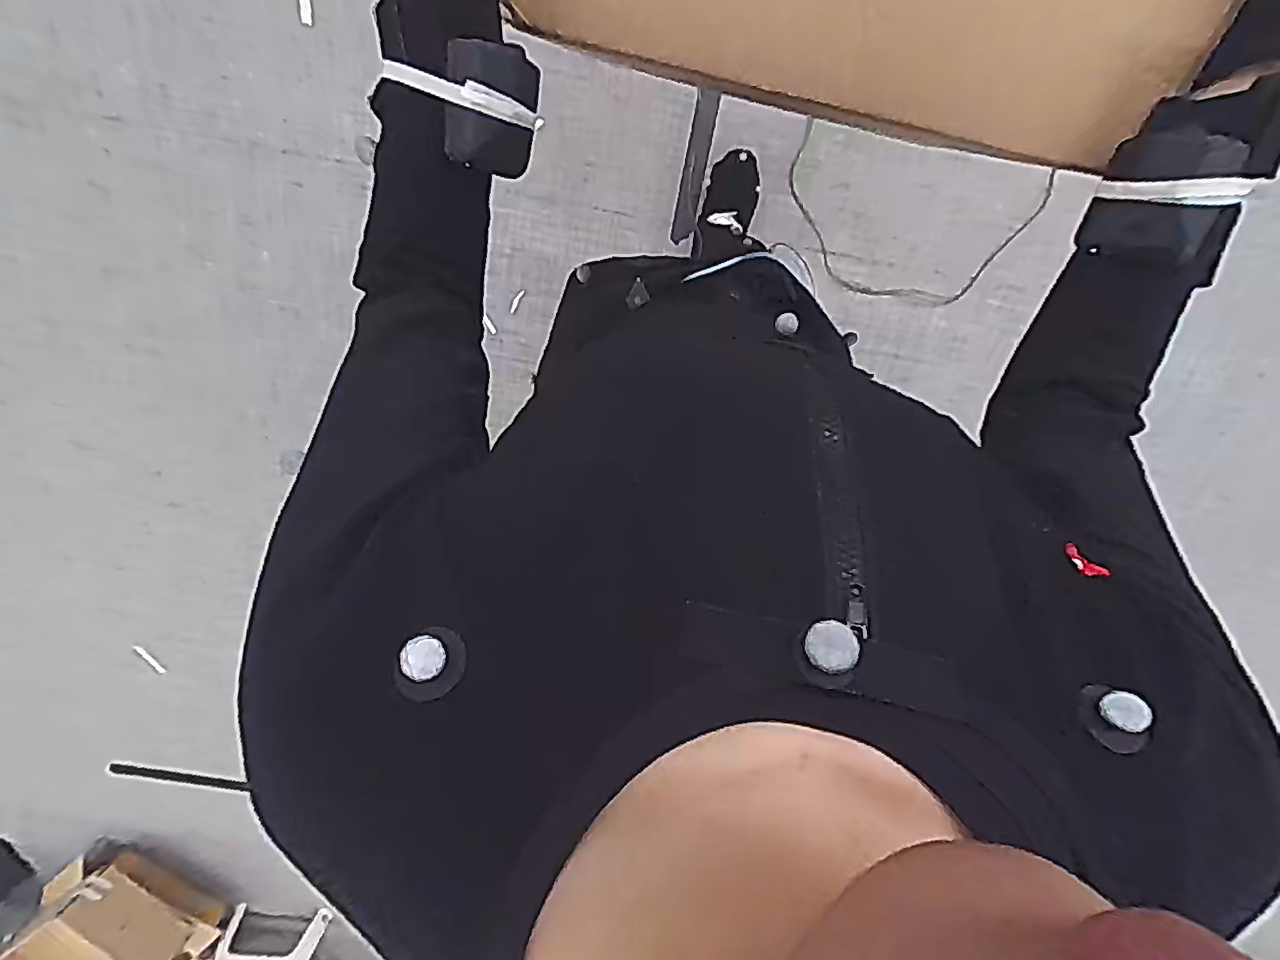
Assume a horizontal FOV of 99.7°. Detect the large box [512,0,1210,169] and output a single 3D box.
[{"bbox_3d":[0.148,-0.446,0.379,0.408,0.320,0.320,11,126,-4],"label":"large box"}]
